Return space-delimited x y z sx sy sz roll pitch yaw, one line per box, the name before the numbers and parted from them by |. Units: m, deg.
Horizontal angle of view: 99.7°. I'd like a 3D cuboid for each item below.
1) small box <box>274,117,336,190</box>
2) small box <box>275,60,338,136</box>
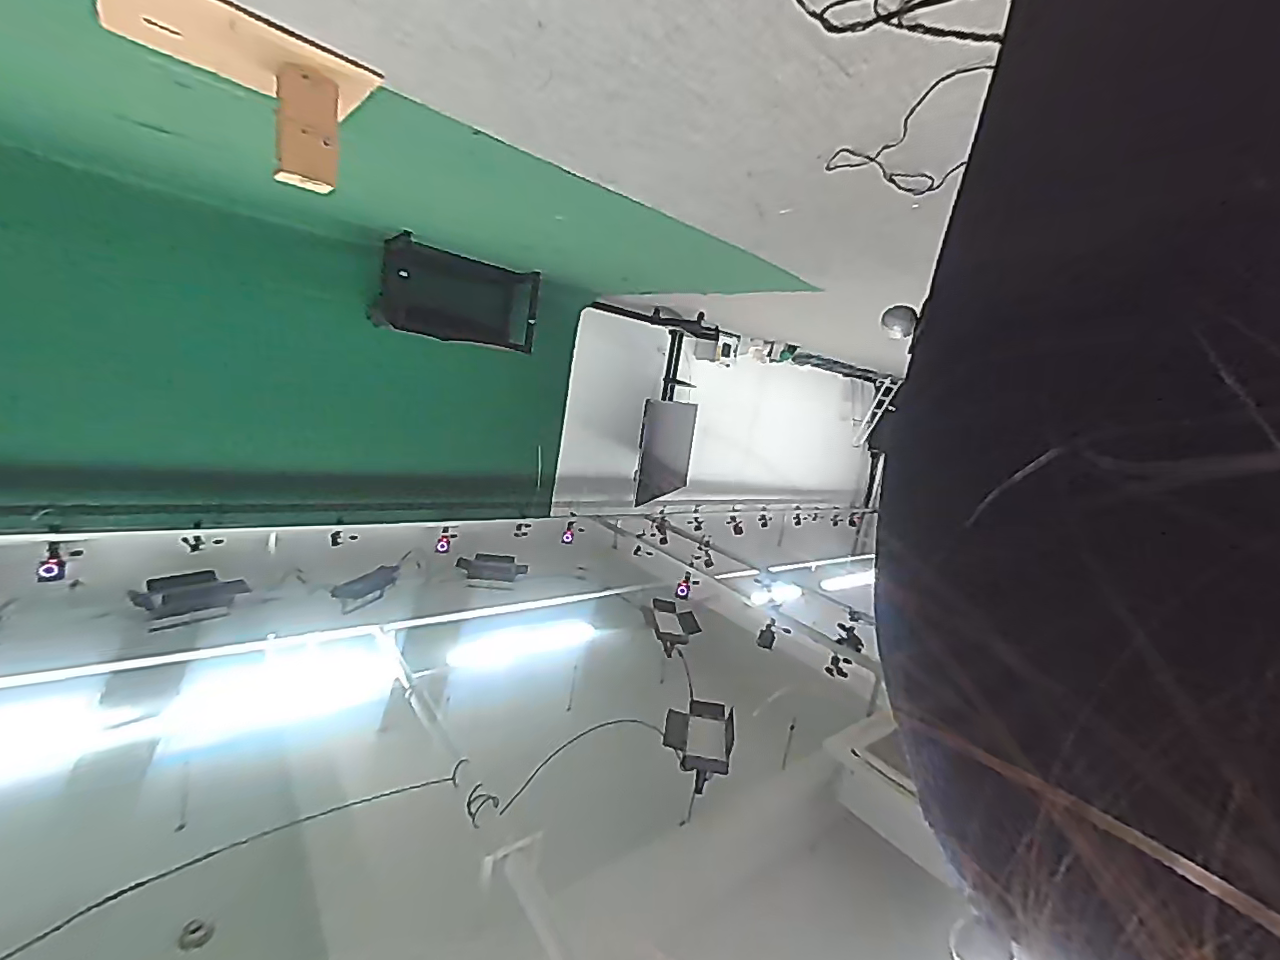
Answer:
small box | -1.197 -1.164 1.930 0.168 0.176 0.179 -1 -164 -42
small box | -1.171 -1.323 1.897 0.168 0.176 0.179 -1 -165 -40
